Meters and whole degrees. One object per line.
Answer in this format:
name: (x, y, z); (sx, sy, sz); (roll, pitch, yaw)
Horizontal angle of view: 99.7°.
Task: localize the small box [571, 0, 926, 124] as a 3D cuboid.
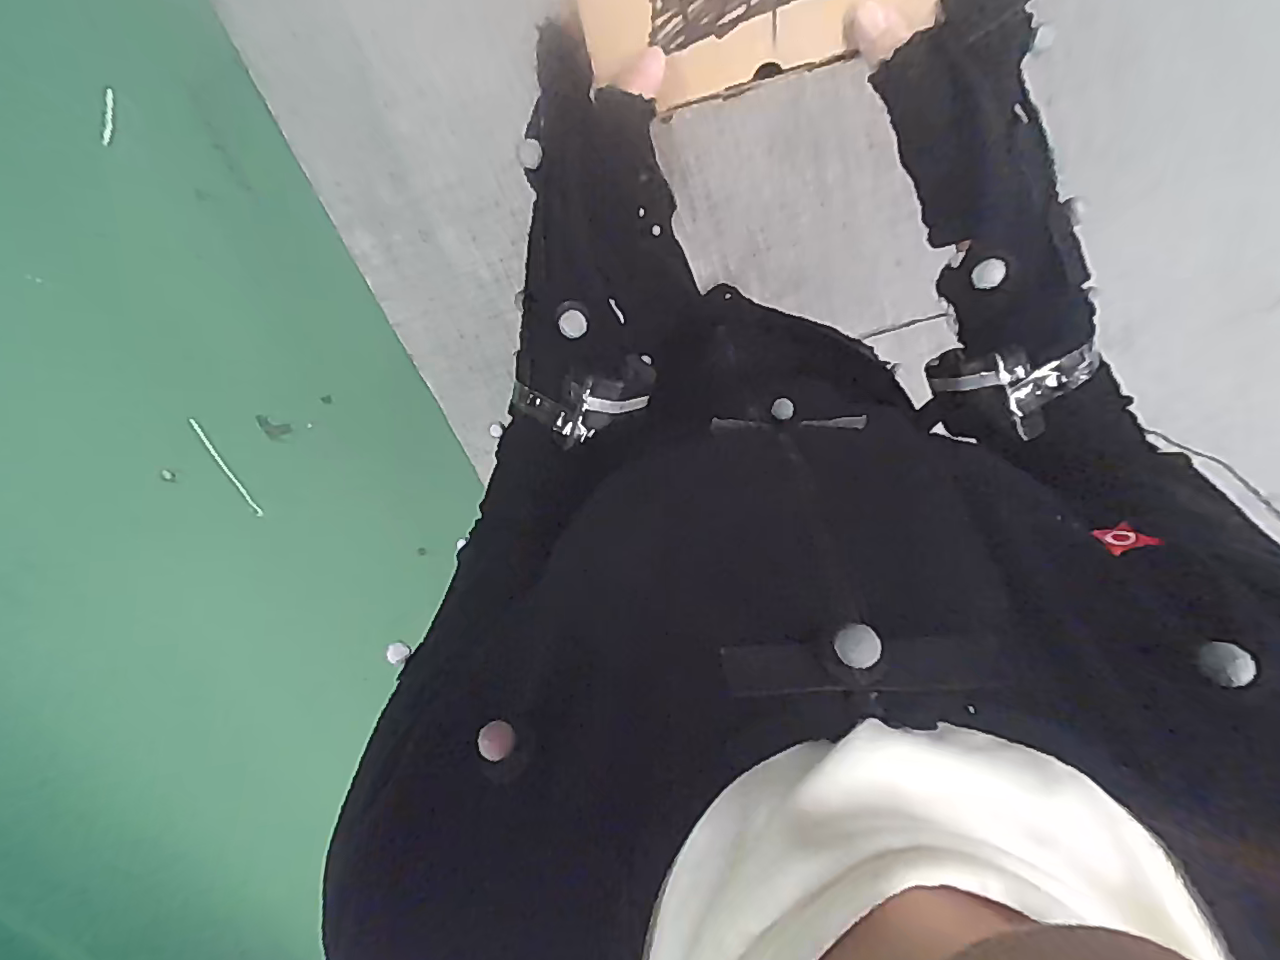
small box: (0.040, -0.318, 0.286); (0.168, 0.176, 0.179); (-11, 126, 10)
